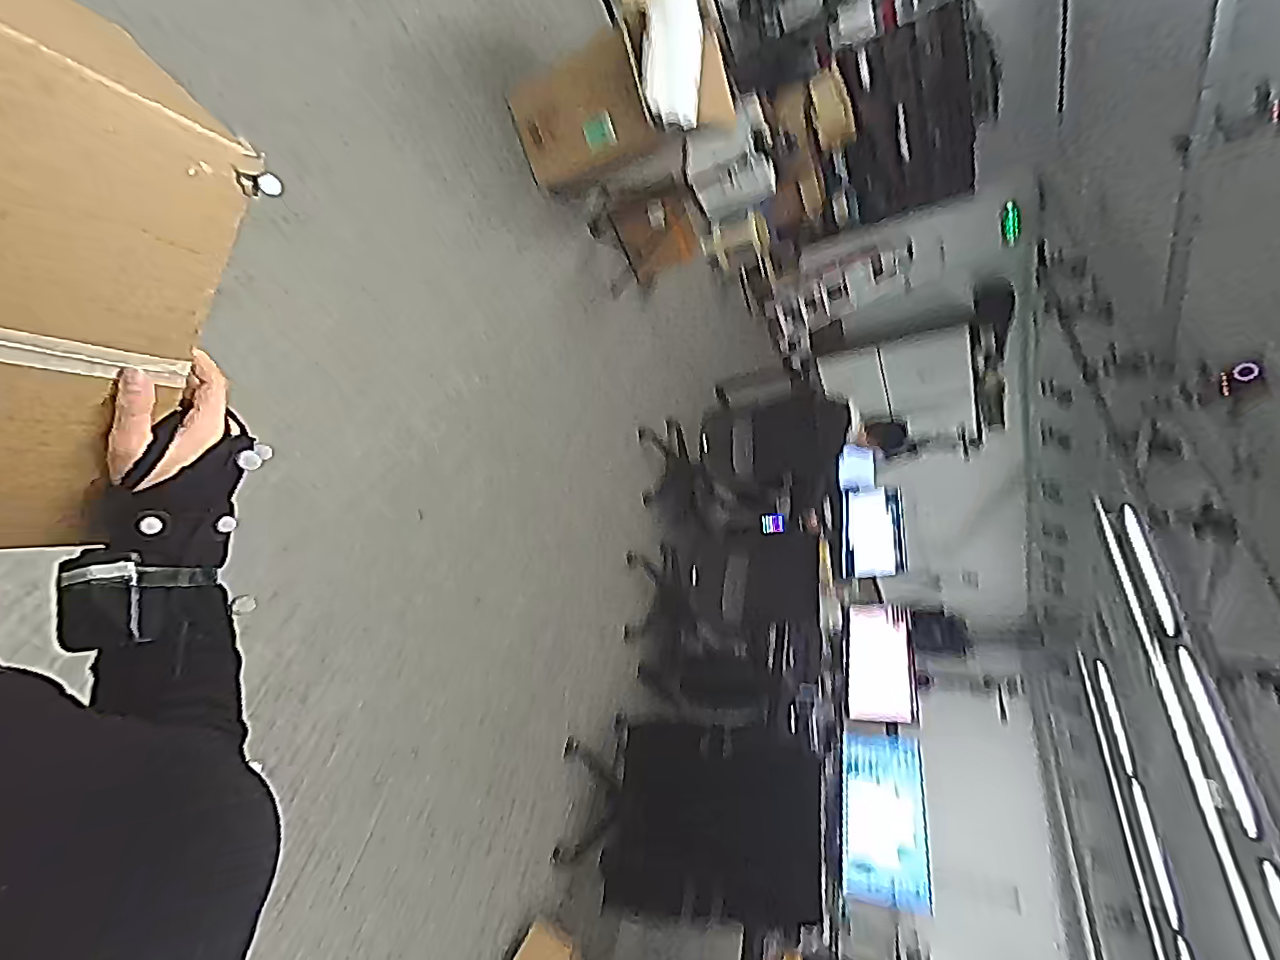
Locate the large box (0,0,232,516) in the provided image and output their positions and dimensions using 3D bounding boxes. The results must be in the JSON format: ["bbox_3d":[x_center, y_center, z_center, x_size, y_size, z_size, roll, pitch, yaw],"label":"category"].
[{"bbox_3d":[-0.533,-0.185,0.268,0.320,0.320,0.408,43,20,23],"label":"large box"}]
